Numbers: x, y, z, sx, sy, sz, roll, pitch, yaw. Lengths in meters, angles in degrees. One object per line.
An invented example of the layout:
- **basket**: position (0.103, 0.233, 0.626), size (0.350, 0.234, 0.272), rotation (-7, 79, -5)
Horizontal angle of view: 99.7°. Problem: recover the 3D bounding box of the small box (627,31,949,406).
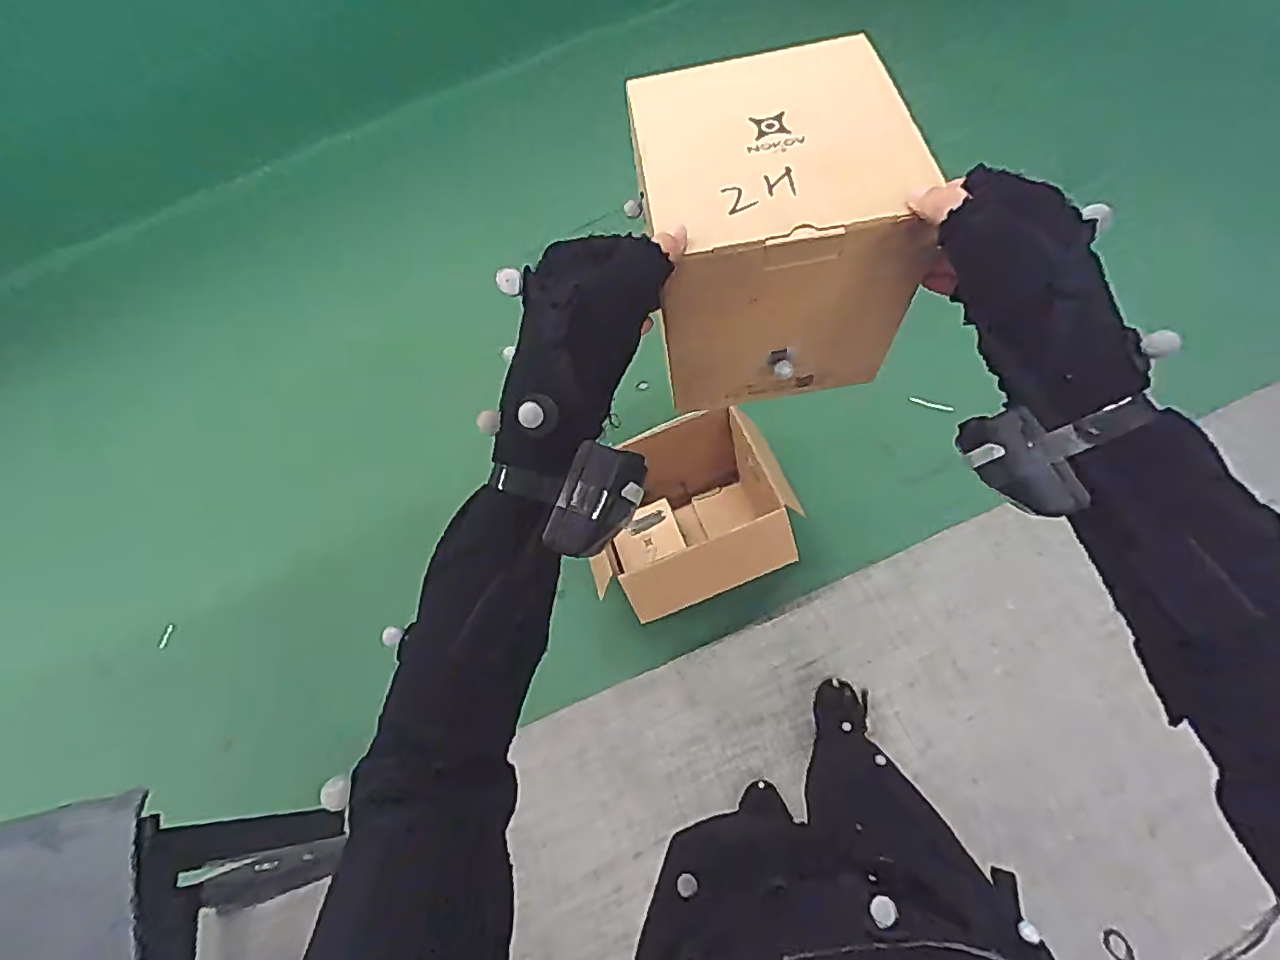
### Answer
- **small box**: position (0.087, -0.180, 0.403), size (0.168, 0.176, 0.179), rotation (-9, 64, 4)
